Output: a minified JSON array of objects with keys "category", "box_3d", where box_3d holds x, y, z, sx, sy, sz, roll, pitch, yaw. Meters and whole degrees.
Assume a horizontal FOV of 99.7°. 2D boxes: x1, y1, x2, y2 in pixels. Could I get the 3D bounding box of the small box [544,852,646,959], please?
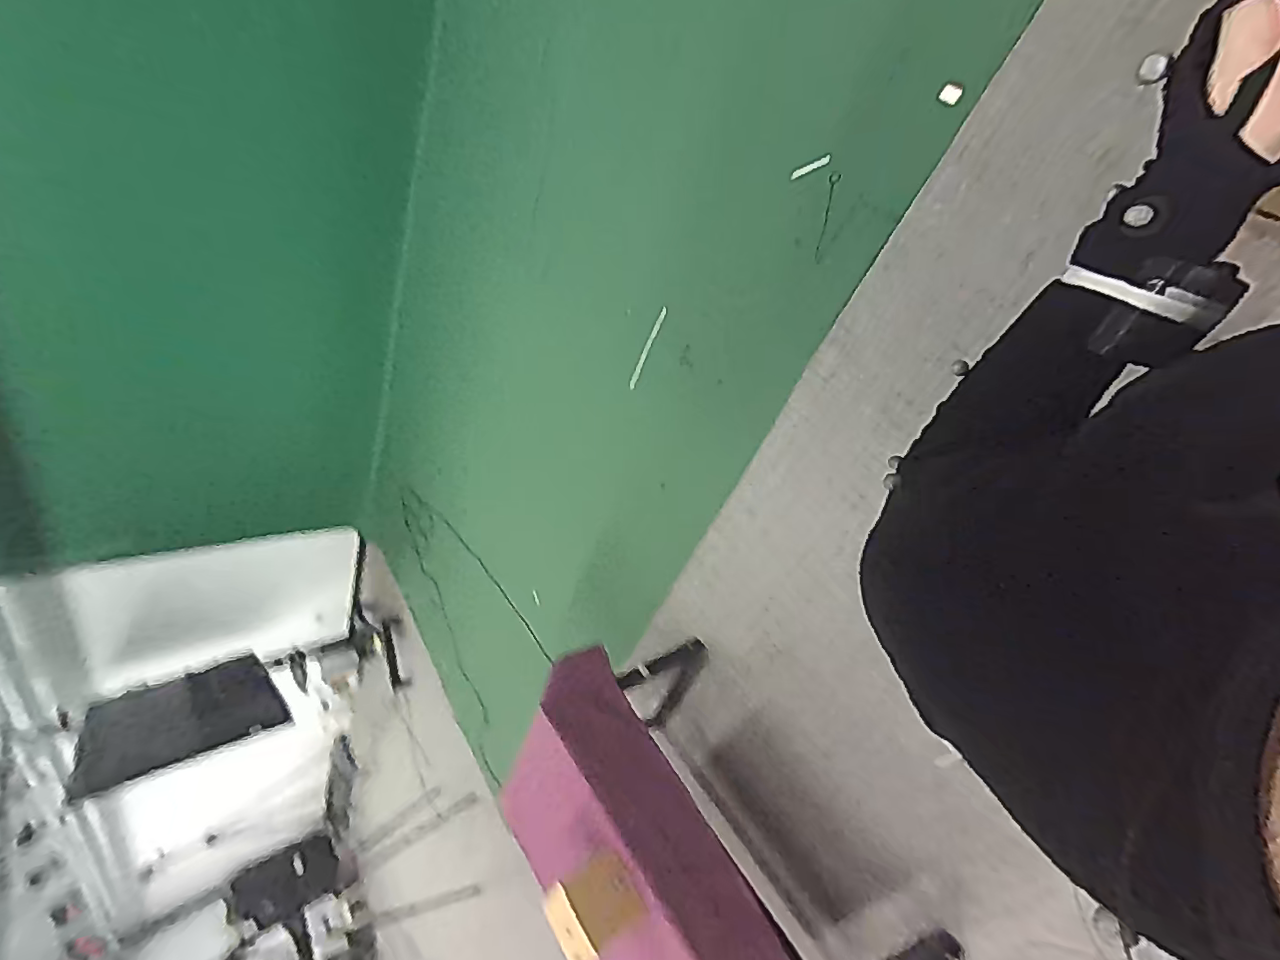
[{"category":"small box","box_3d":[-0.117,1.106,1.396,0.179,0.176,0.168,48,128,31]}]
